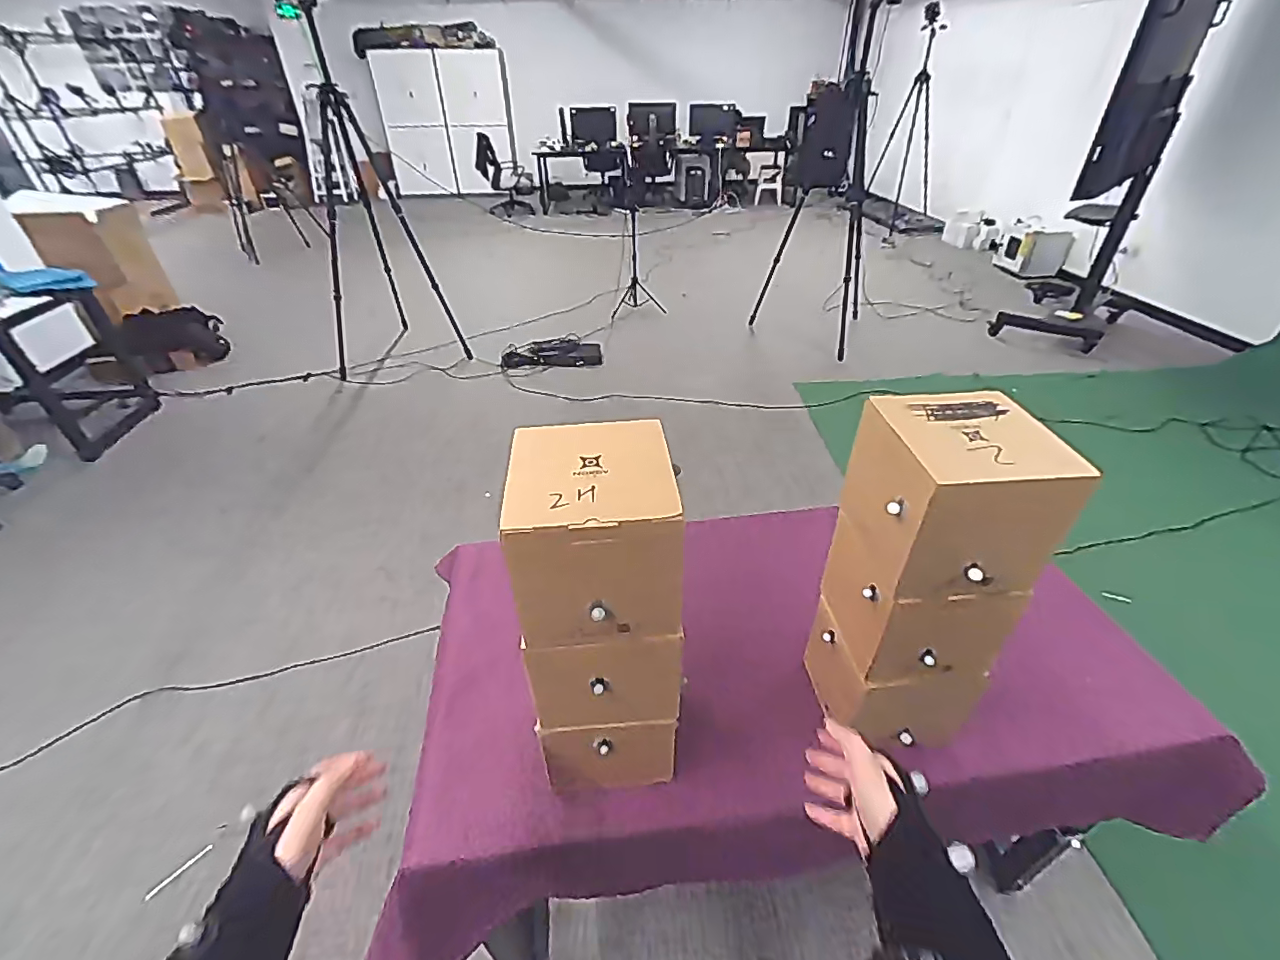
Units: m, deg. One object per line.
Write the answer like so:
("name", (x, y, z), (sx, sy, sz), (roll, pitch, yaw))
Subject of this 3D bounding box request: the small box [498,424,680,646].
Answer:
("small box", (-0.052, 0.057, 0.597), (0.168, 0.176, 0.179), (-4, 37, -4))

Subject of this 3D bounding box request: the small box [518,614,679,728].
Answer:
("small box", (-0.049, 0.193, 0.690), (0.179, 0.176, 0.168), (-4, 37, -3))

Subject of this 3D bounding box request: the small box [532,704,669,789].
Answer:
("small box", (-0.053, 0.326, 0.785), (0.179, 0.176, 0.168), (-3, 37, -4))

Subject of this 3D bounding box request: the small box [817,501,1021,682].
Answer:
("small box", (0.359, 0.149, 0.741), (0.168, 0.176, 0.179), (-4, 37, -3))

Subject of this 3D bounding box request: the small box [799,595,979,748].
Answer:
("small box", (0.364, 0.286, 0.829), (0.179, 0.176, 0.168), (-4, 36, -4))
